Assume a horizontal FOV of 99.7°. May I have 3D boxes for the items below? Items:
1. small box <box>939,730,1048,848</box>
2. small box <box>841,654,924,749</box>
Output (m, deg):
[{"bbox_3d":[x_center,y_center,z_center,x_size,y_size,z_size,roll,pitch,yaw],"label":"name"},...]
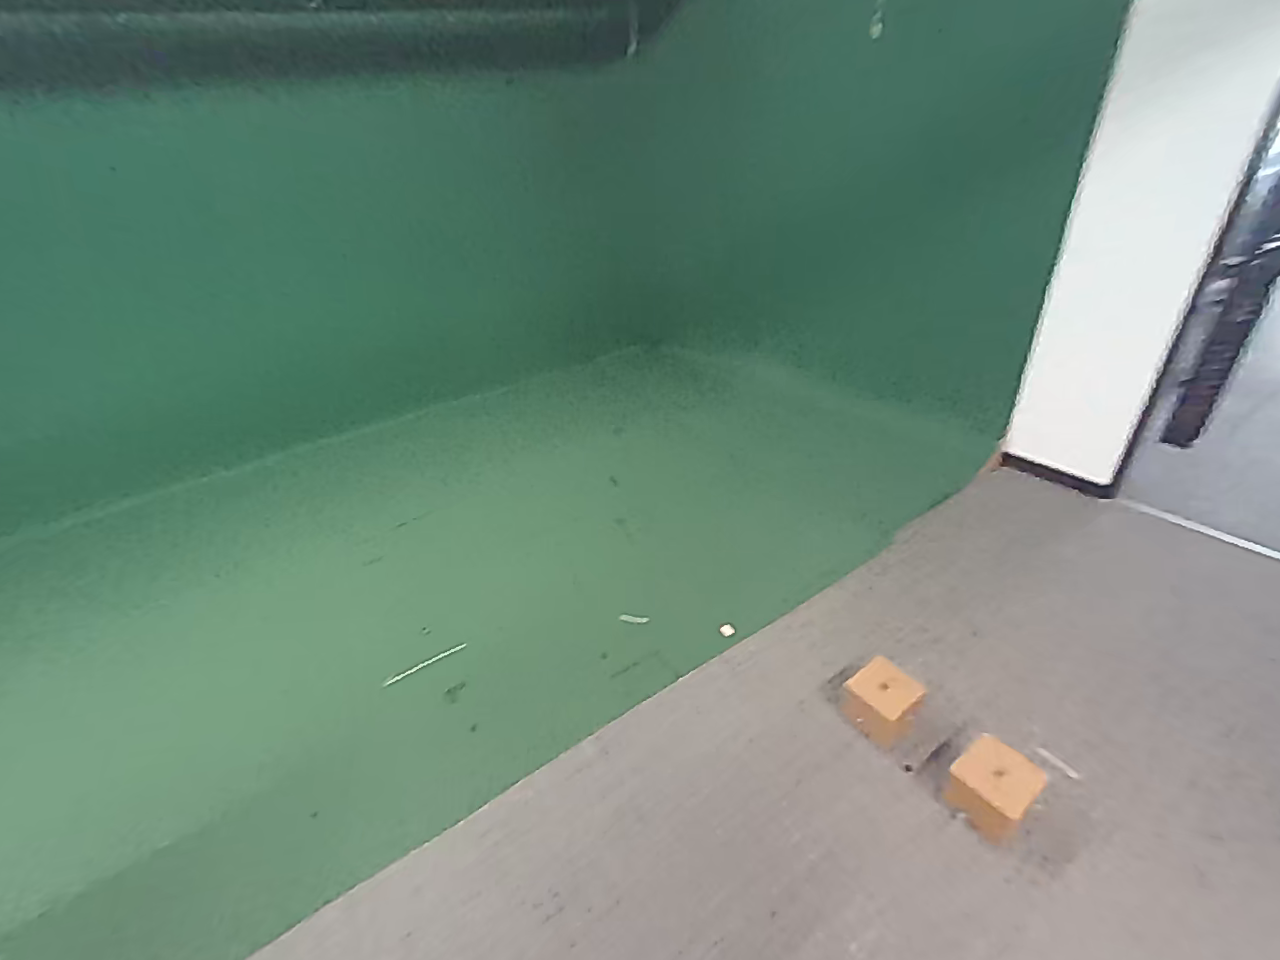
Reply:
[{"bbox_3d":[0.923,0.814,1.427,0.179,0.176,0.168,-25,36,-25],"label":"small box"},{"bbox_3d":[0.739,0.682,1.664,0.179,0.176,0.168,-24,37,-25],"label":"small box"}]
